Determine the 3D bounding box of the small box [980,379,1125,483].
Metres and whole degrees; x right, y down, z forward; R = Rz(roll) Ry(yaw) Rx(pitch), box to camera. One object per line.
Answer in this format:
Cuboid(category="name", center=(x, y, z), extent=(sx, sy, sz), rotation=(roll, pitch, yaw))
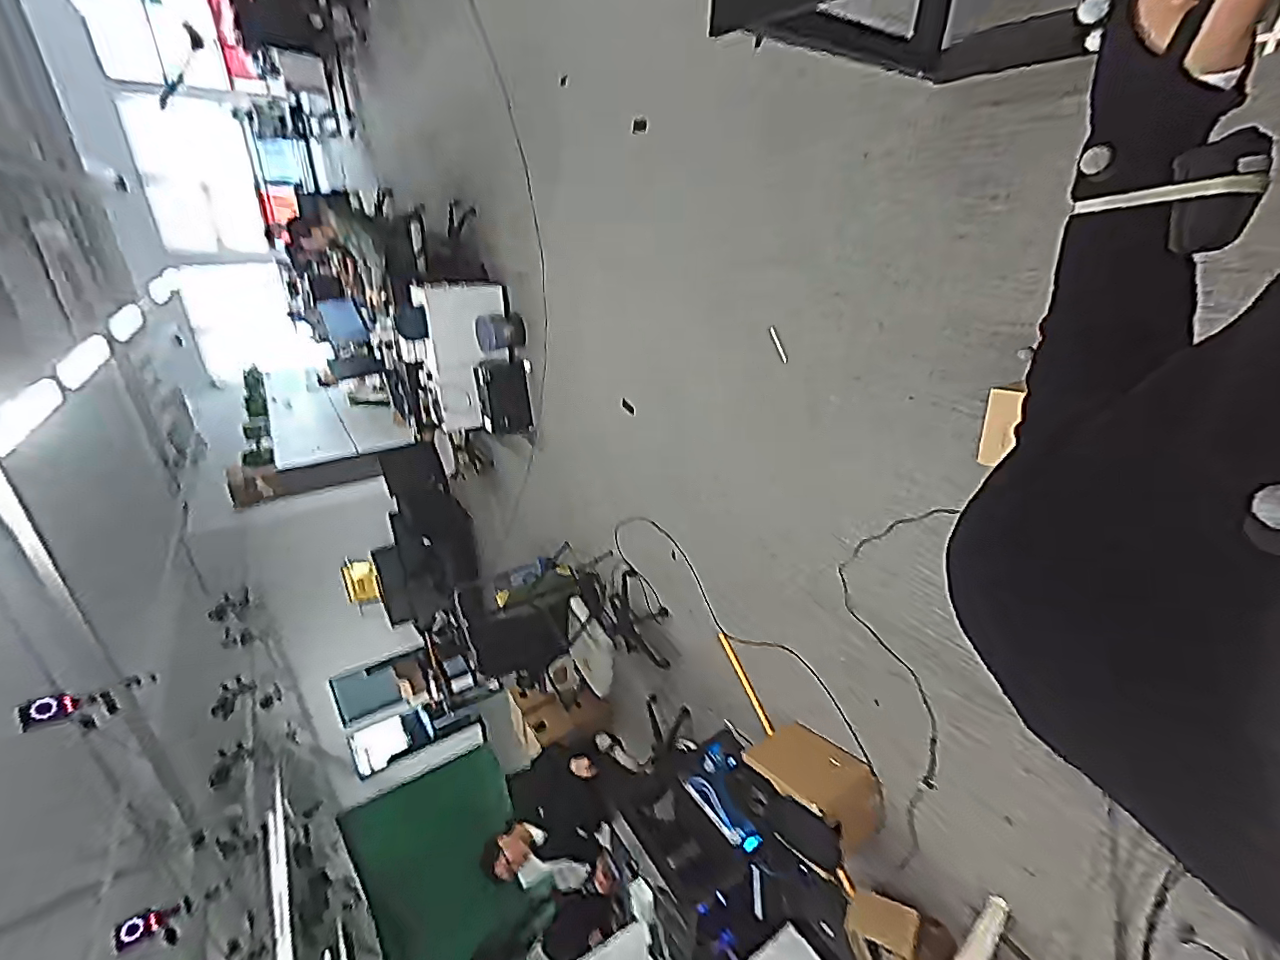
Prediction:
Cuboid(category="small box", center=(0.847, -0.110, 1.113), extent=(0.179, 0.176, 0.168), rotation=(27, 125, 53))
